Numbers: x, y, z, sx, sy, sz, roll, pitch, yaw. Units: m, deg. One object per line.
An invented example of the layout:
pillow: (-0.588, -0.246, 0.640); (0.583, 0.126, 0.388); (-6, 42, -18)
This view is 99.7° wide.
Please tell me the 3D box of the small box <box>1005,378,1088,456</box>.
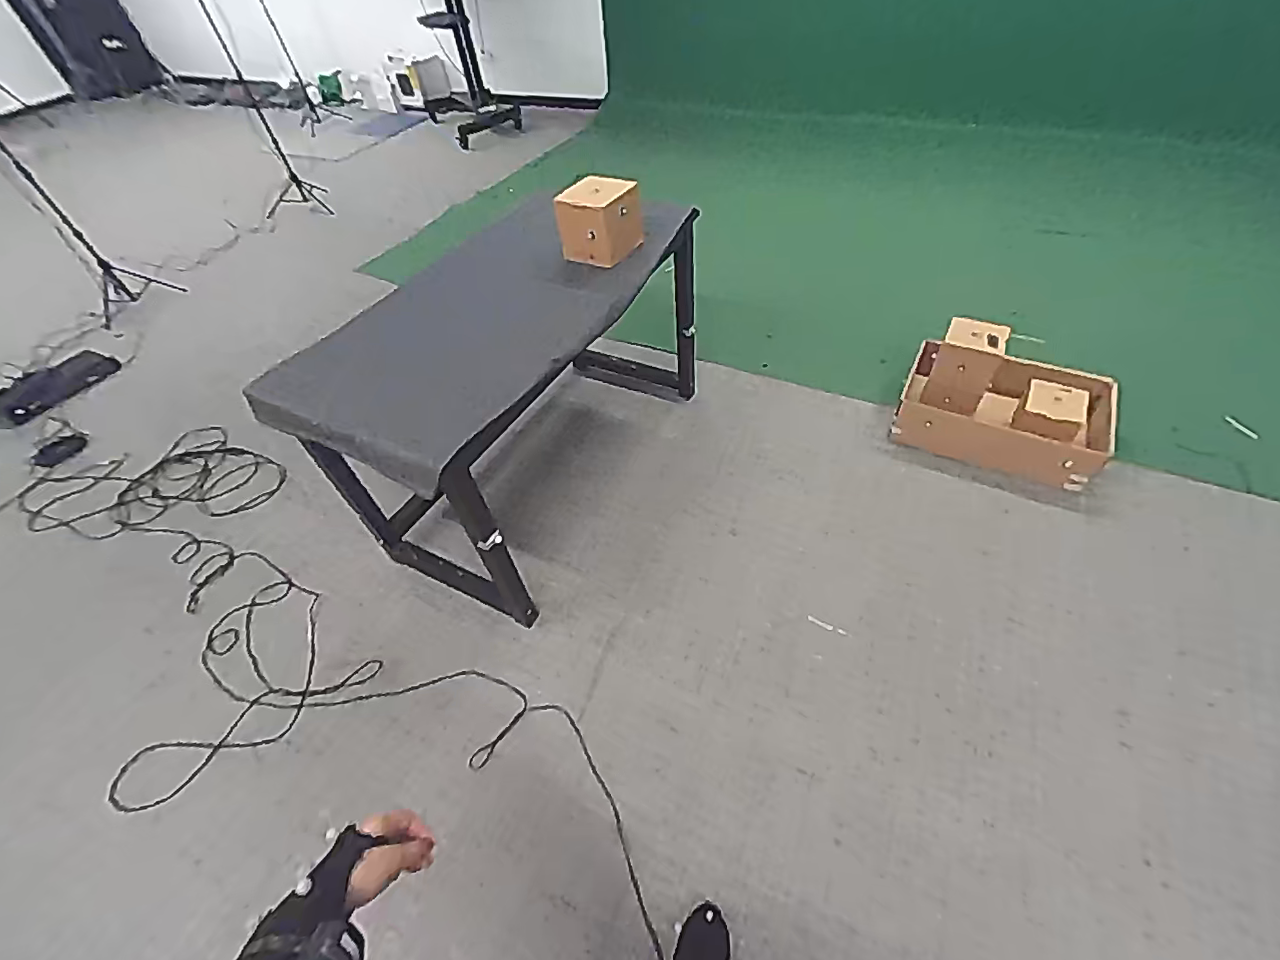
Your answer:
small box: (1.353, -0.207, 1.806); (0.168, 0.176, 0.179); (22, 56, 24)

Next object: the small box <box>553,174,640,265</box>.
small box: (-0.111, -0.721, 1.500); (0.168, 0.176, 0.179); (22, 54, 23)

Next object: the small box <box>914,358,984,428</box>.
small box: (1.100, -0.311, 1.918); (0.179, 0.176, 0.168); (21, 56, 21)

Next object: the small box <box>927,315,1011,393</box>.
small box: (1.086, -0.414, 1.791); (0.179, 0.176, 0.168); (21, 55, 23)
